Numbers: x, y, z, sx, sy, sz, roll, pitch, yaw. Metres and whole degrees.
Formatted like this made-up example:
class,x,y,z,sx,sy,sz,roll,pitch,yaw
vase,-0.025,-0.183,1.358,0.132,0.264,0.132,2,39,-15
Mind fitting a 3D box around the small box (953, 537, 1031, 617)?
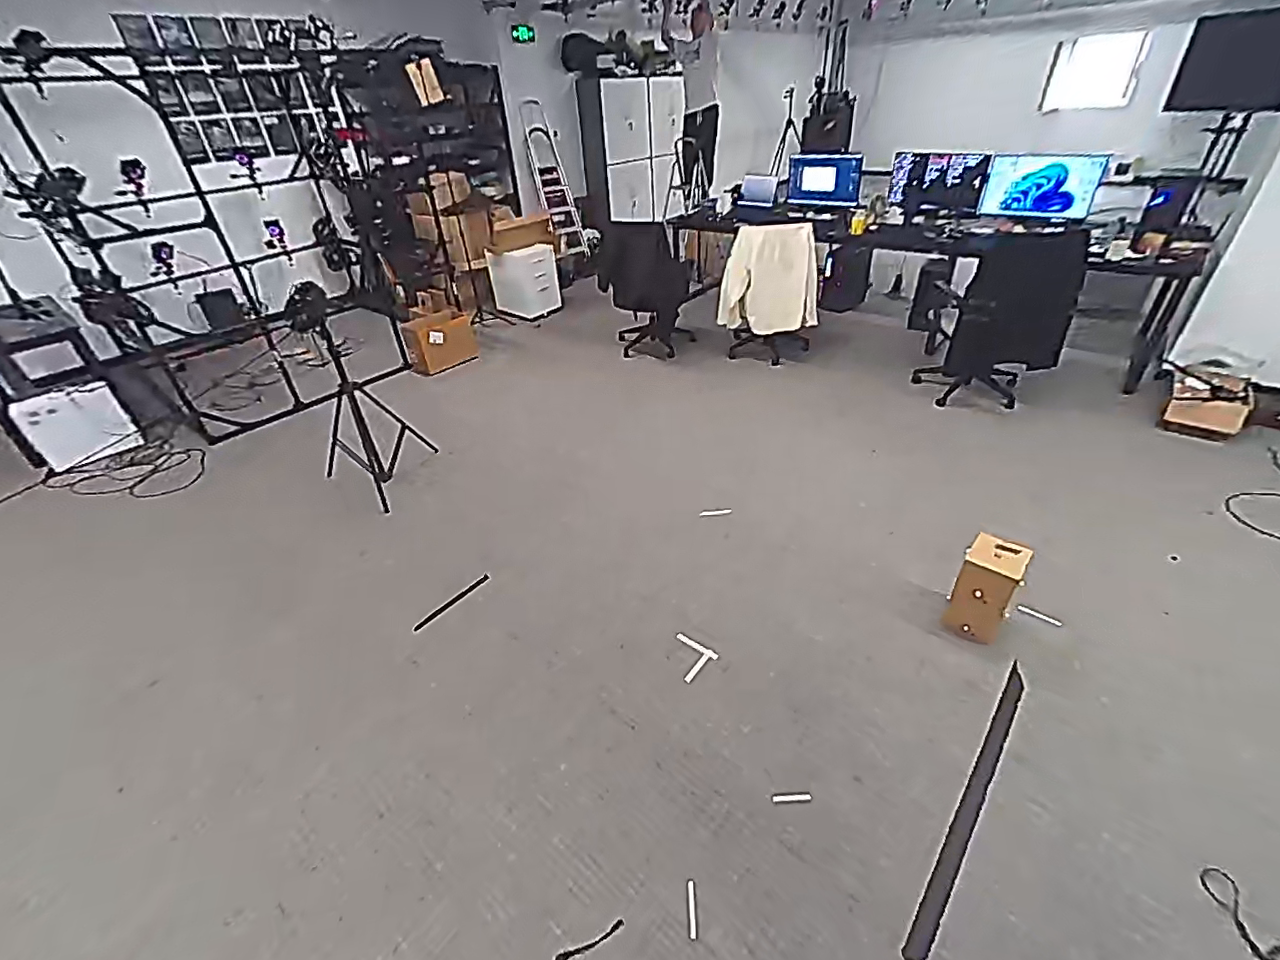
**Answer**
class,x,y,z,sx,sy,sz,roll,pitch,yaw
small box,1.213,0.334,1.870,0.168,0.176,0.179,25,45,36
